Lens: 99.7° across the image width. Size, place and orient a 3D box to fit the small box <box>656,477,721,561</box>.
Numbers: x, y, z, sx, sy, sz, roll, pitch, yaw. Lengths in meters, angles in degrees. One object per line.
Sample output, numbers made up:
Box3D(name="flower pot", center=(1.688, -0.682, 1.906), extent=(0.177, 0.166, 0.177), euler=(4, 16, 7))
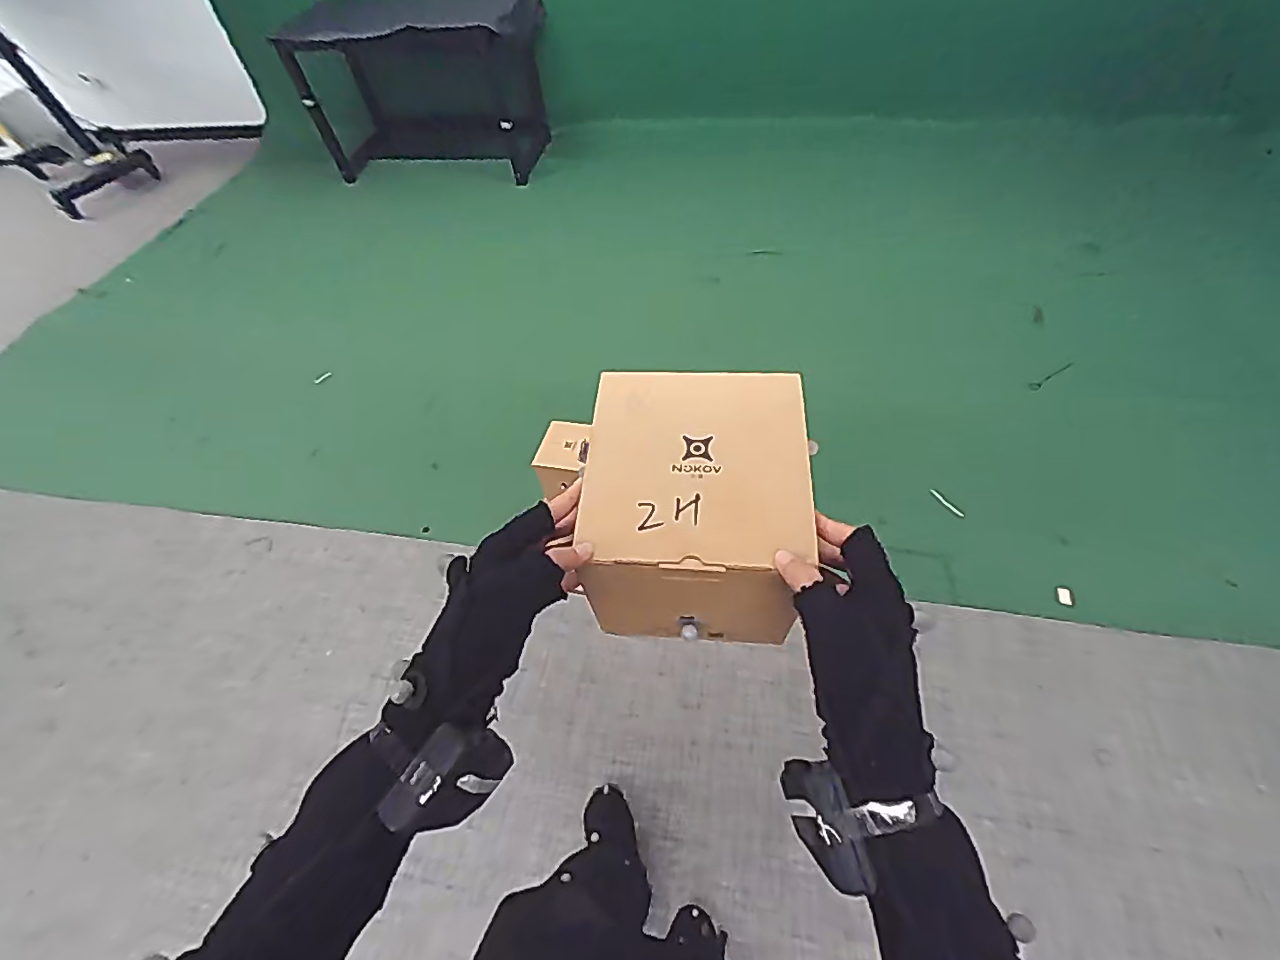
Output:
Box3D(name="small box", center=(0.145, 0.116, 1.593), extent=(0.168, 0.176, 0.179), euler=(5, 54, 11))

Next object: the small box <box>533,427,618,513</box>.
Box3D(name="small box", center=(-0.173, -0.025, 1.525), extent=(0.179, 0.176, 0.168), euler=(8, 54, 15))
